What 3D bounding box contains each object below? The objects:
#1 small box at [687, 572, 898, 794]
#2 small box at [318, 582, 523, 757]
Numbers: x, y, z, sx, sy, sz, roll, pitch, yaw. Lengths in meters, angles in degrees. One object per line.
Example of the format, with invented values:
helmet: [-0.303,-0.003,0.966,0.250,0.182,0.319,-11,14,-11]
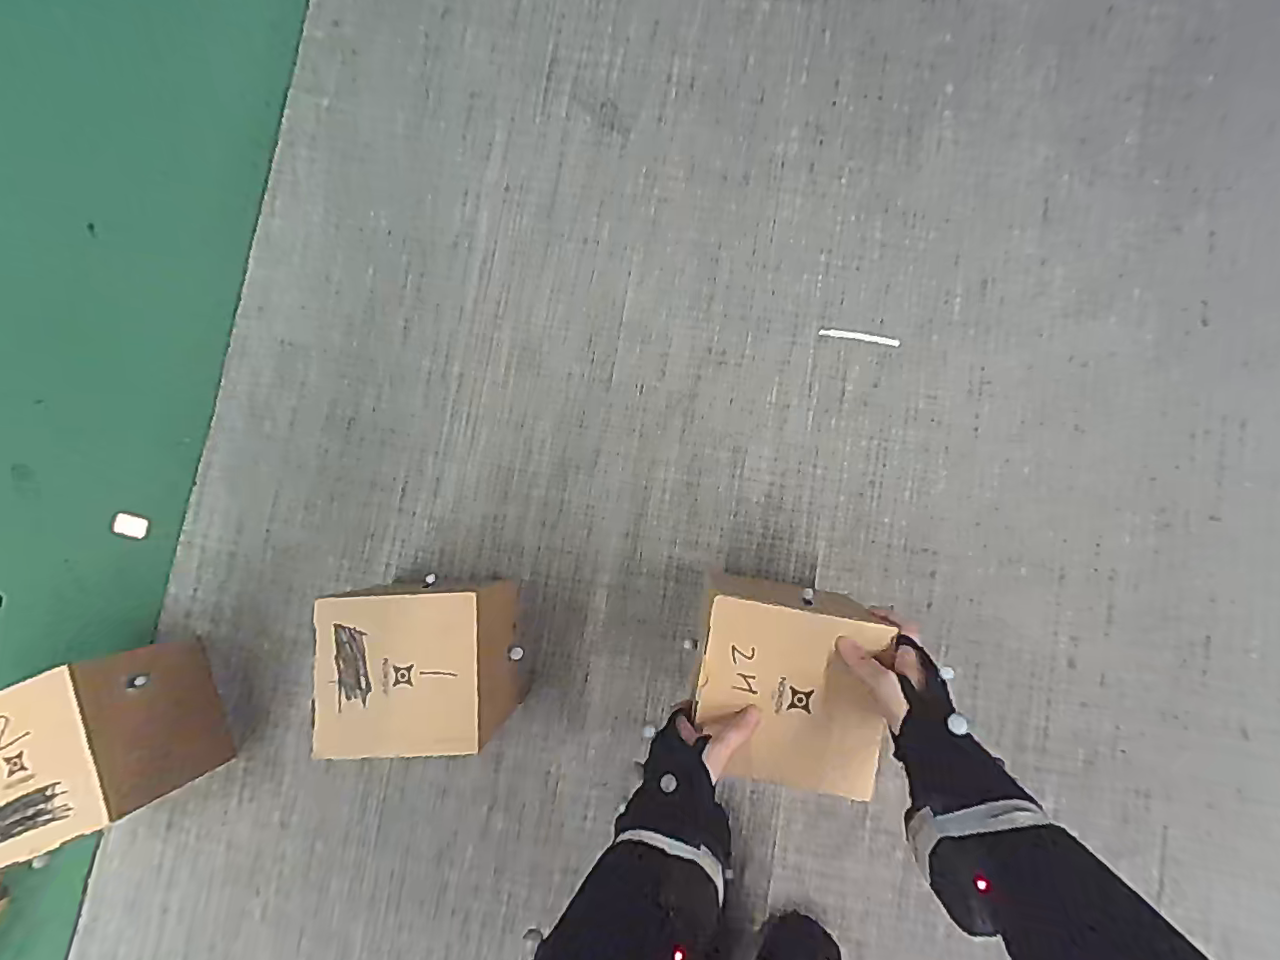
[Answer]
small box: [0.151,0.203,0.594,0.179,0.176,0.168,10,89,5]
small box: [-0.246,0.212,0.644,0.179,0.176,0.168,-3,84,1]
